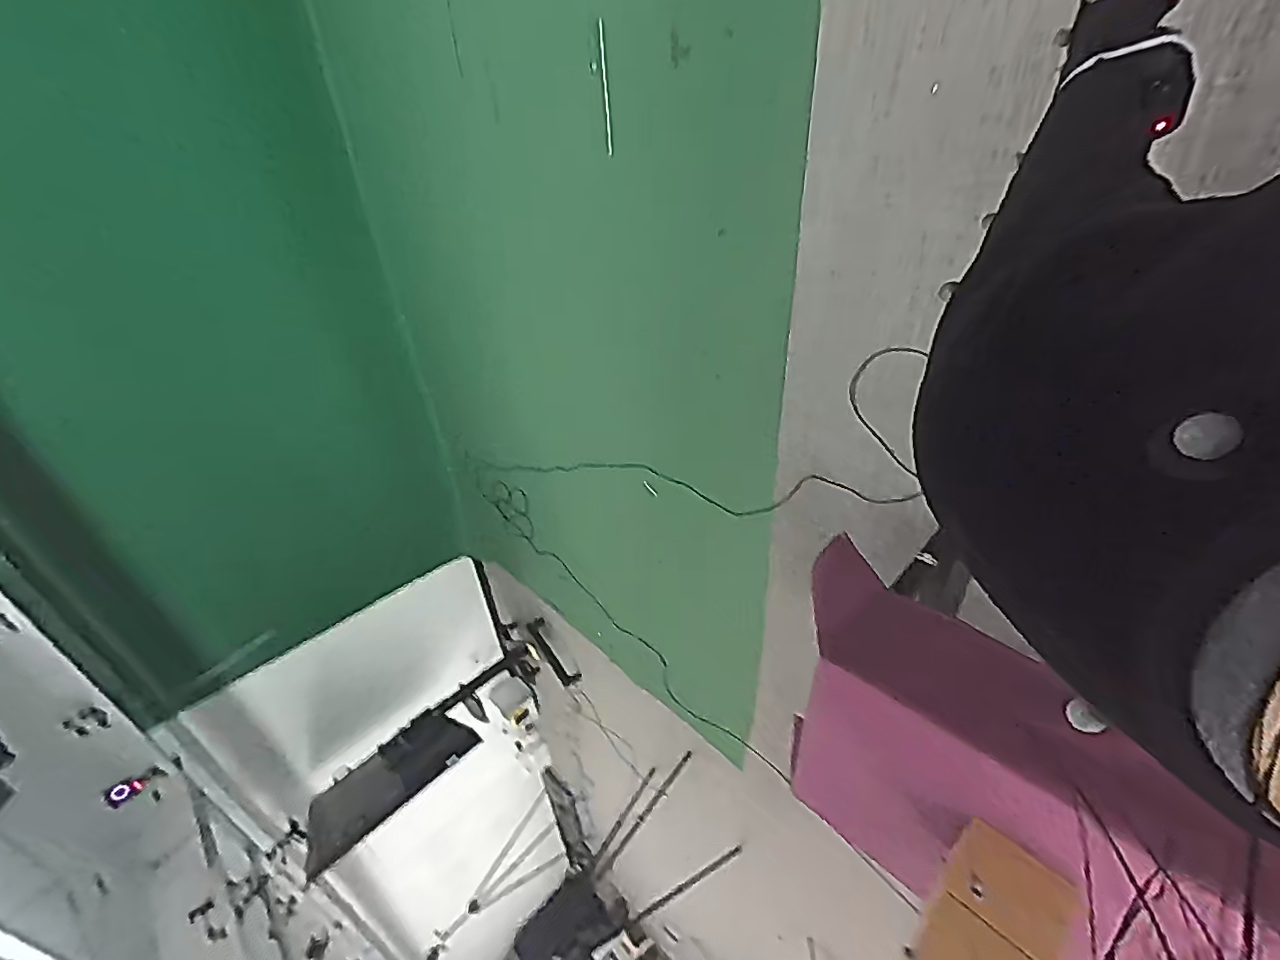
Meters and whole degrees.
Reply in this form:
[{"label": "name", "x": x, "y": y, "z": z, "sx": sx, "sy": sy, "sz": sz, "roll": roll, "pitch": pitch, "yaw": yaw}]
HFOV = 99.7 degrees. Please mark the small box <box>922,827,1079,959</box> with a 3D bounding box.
[{"label": "small box", "x": 0.667, "y": 0.790, "z": 1.006, "sx": 0.179, "sy": 0.176, "sz": 0.168, "roll": 29, "pitch": 136, "yaw": 37}]
